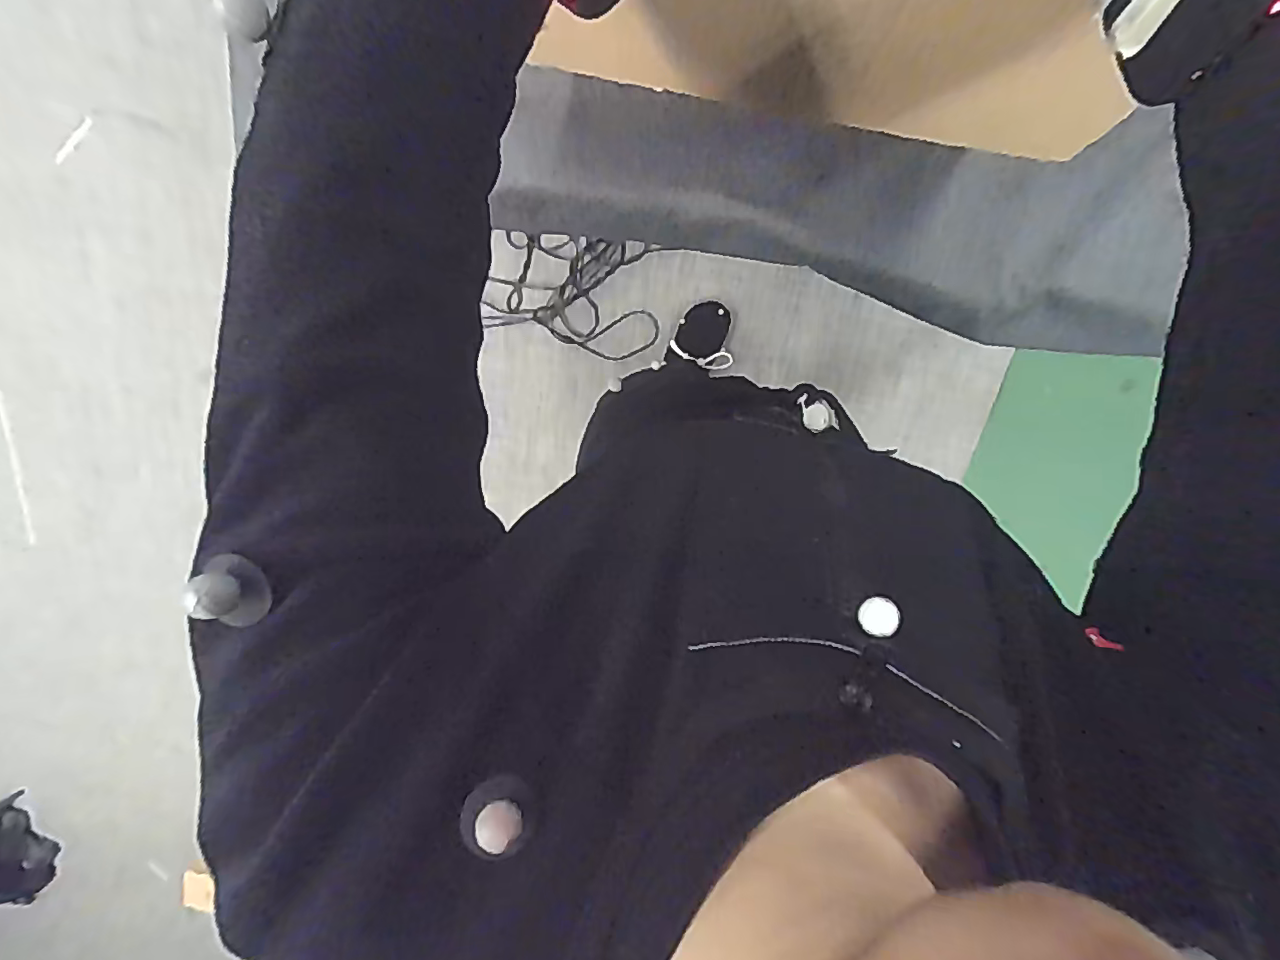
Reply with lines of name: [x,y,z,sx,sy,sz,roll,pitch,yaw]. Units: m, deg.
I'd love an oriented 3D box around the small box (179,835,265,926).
small box: [-1.422,1.361,1.847,0.168,0.176,0.179,17,109,-1]
